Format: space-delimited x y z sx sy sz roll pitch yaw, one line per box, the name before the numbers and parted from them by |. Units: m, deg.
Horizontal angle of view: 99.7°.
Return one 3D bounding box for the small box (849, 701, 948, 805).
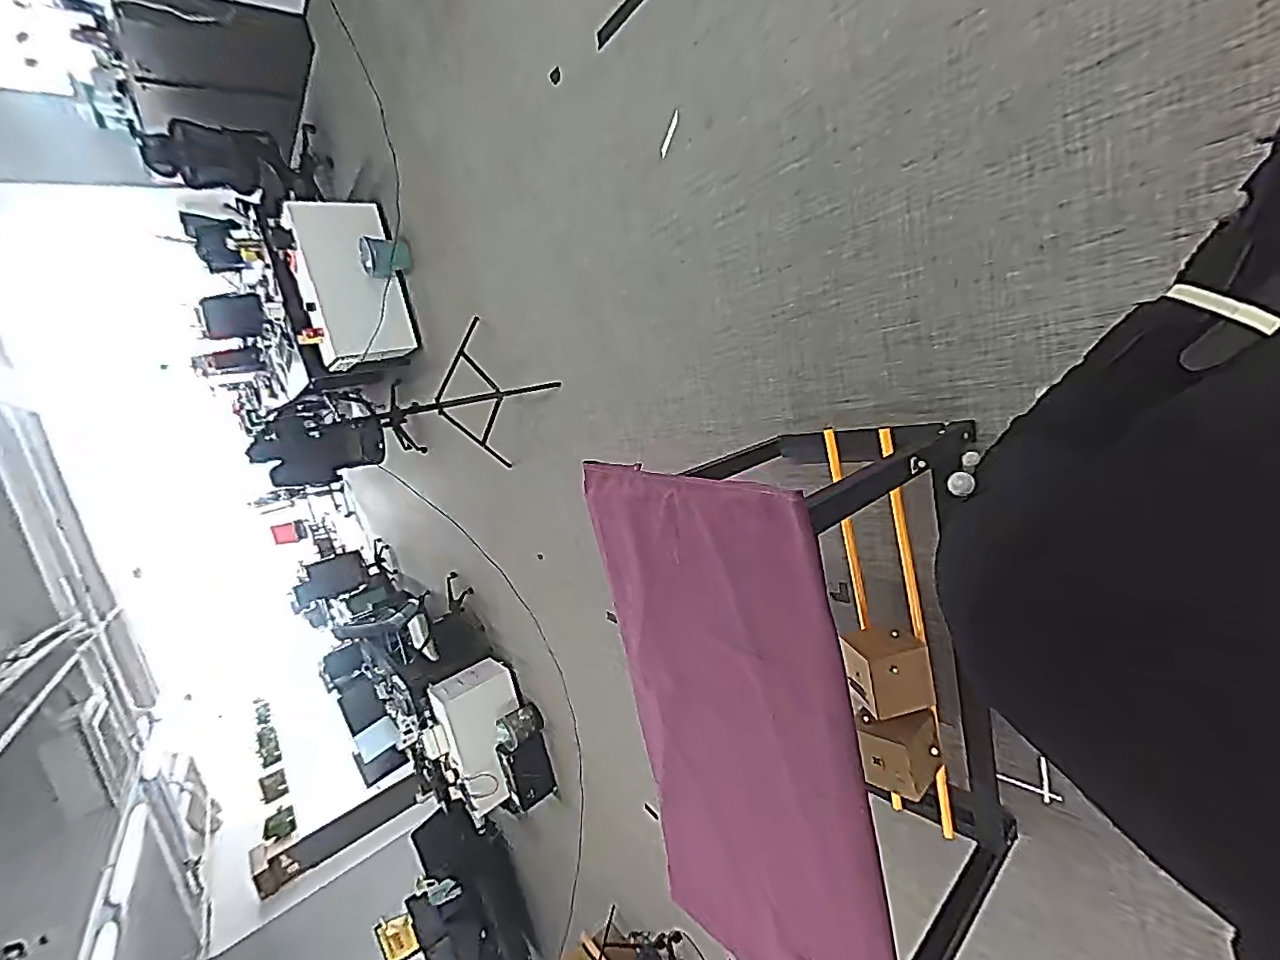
small box | 0.707 0.732 1.478 0.179 0.176 0.168 -5 103 52
